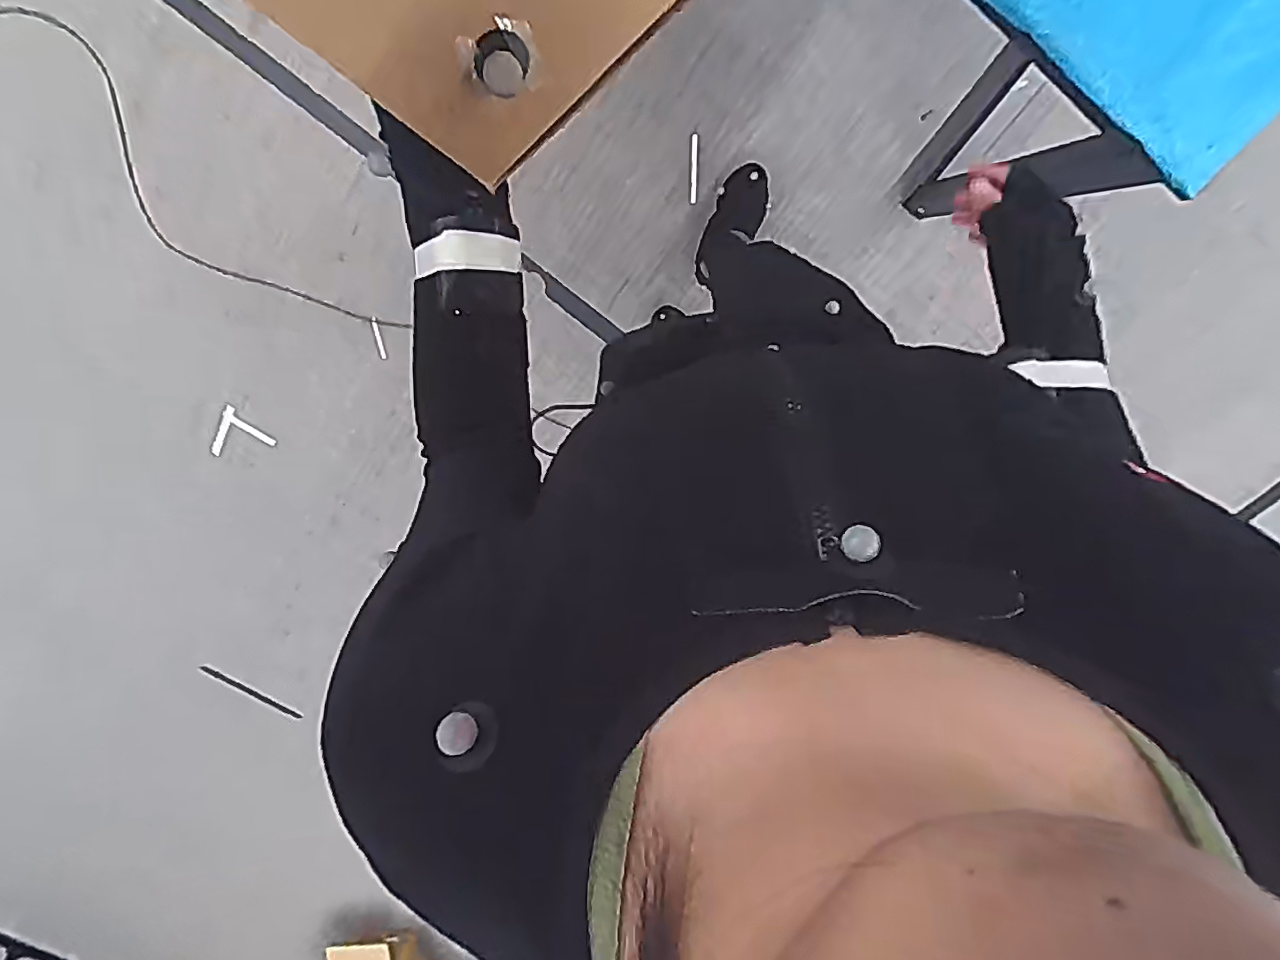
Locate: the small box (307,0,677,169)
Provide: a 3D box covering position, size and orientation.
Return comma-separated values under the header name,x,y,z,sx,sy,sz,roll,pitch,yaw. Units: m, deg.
name,x,y,z,sx,sy,sz,roll,pitch,yaw
small box,-0.072,-0.269,0.186,0.179,0.176,0.168,-30,71,24
